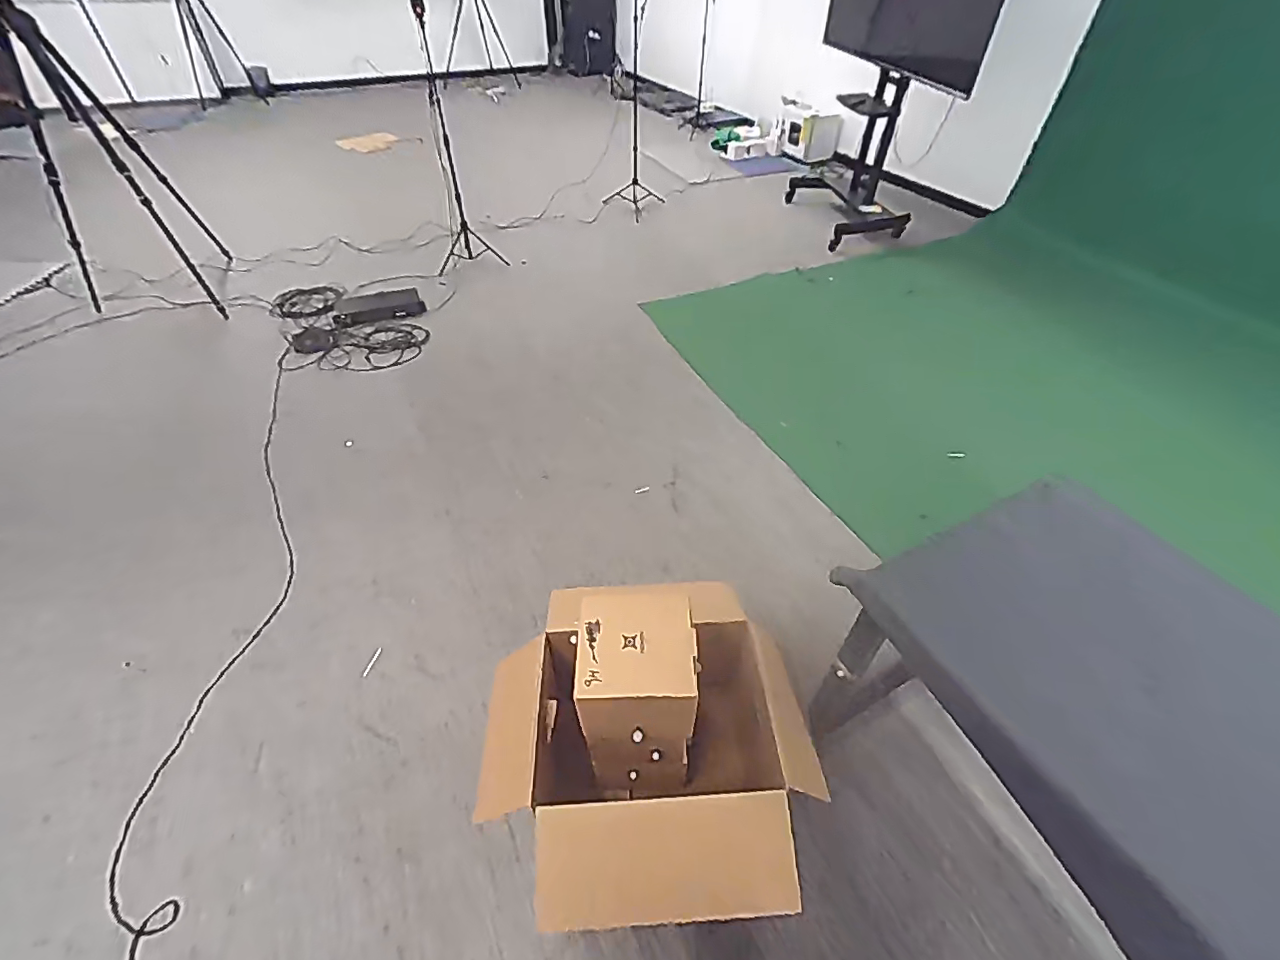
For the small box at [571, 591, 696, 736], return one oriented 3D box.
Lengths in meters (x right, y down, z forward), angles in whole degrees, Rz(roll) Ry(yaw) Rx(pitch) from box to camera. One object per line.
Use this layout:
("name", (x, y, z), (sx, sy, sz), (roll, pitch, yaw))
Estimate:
("small box", (-0.009, 0.293, 0.858), (0.179, 0.176, 0.168), (0, 47, 0))
